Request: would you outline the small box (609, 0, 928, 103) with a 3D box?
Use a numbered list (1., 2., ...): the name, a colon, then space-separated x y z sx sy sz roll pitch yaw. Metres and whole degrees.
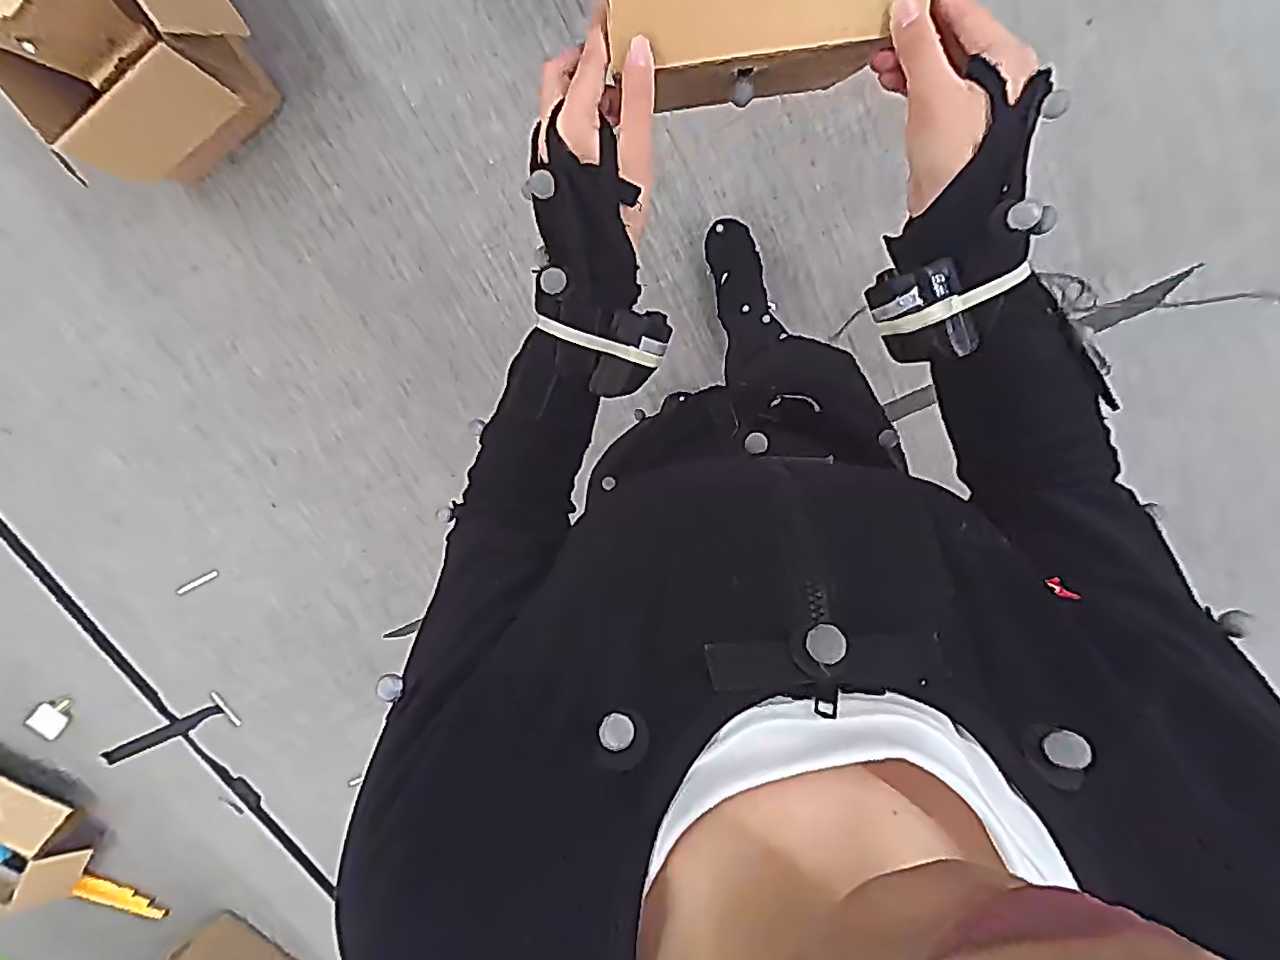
1. small box: 0.064 -0.354 0.336 0.179 0.176 0.168 -5 117 4
